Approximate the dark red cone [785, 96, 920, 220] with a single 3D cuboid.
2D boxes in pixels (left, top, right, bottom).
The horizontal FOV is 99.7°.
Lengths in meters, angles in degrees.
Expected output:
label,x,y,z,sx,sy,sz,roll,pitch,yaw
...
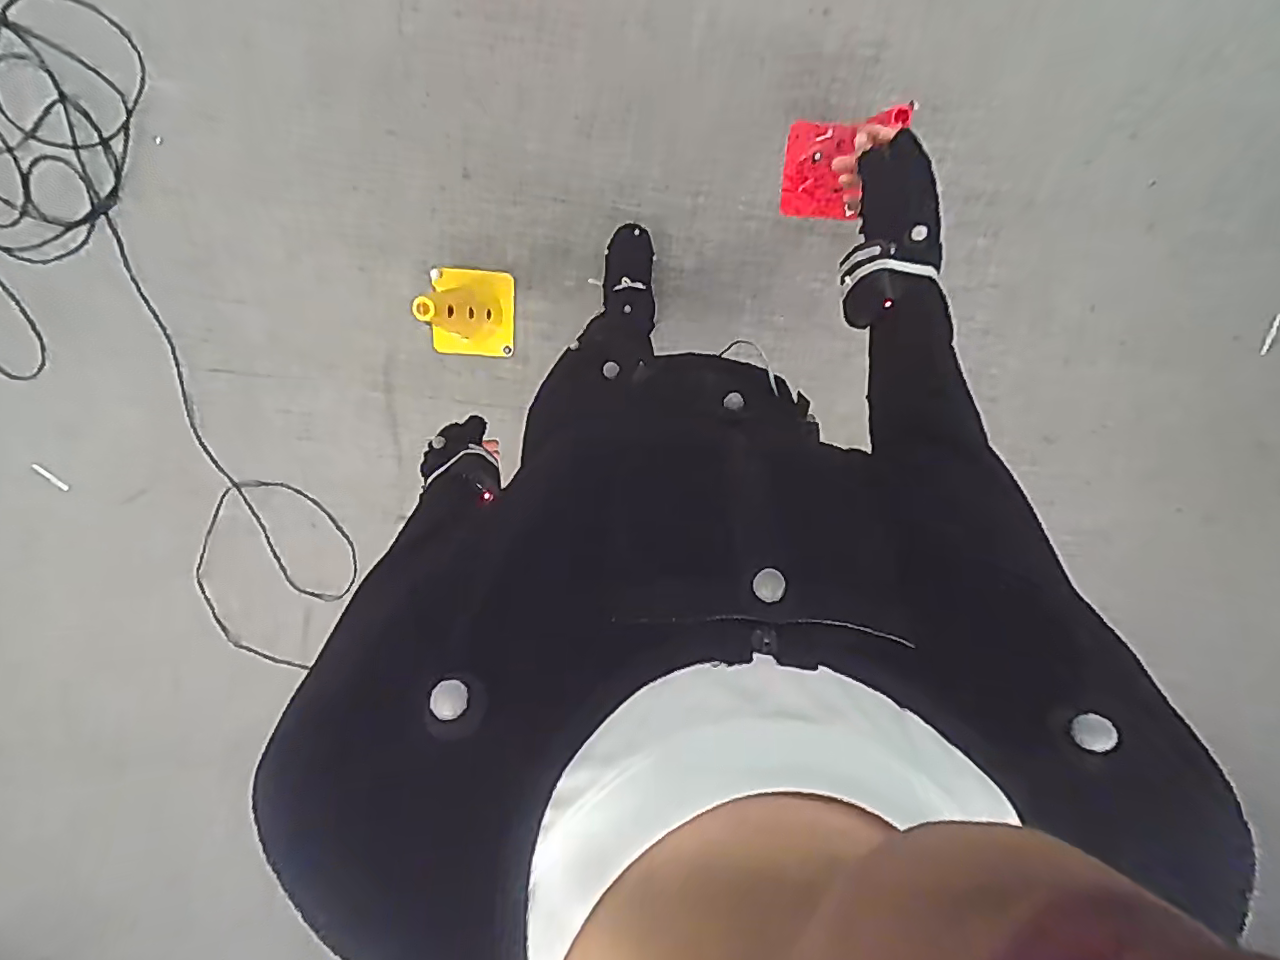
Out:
label,x,y,z,sx,sy,sz,roll,pitch,yaw
dark red cone,0.448,-0.671,1.094,0.202,0.394,0.201,1,104,-2
